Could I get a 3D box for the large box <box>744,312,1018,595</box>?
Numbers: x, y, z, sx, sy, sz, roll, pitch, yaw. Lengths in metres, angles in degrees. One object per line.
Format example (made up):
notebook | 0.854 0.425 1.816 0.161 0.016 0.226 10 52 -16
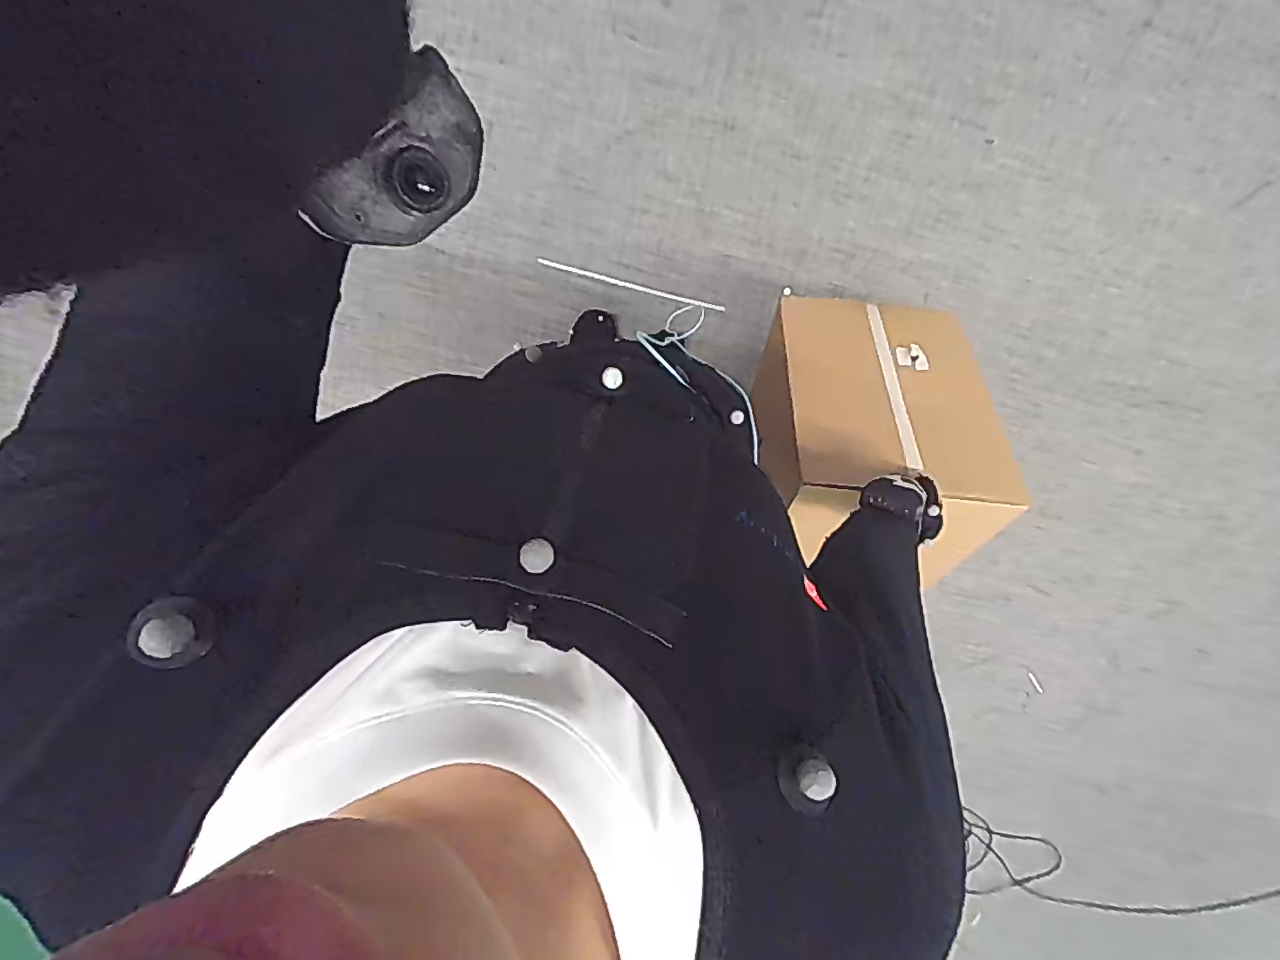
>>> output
large box | 0.375 -0.042 0.975 0.320 0.408 0.320 6 144 -1
